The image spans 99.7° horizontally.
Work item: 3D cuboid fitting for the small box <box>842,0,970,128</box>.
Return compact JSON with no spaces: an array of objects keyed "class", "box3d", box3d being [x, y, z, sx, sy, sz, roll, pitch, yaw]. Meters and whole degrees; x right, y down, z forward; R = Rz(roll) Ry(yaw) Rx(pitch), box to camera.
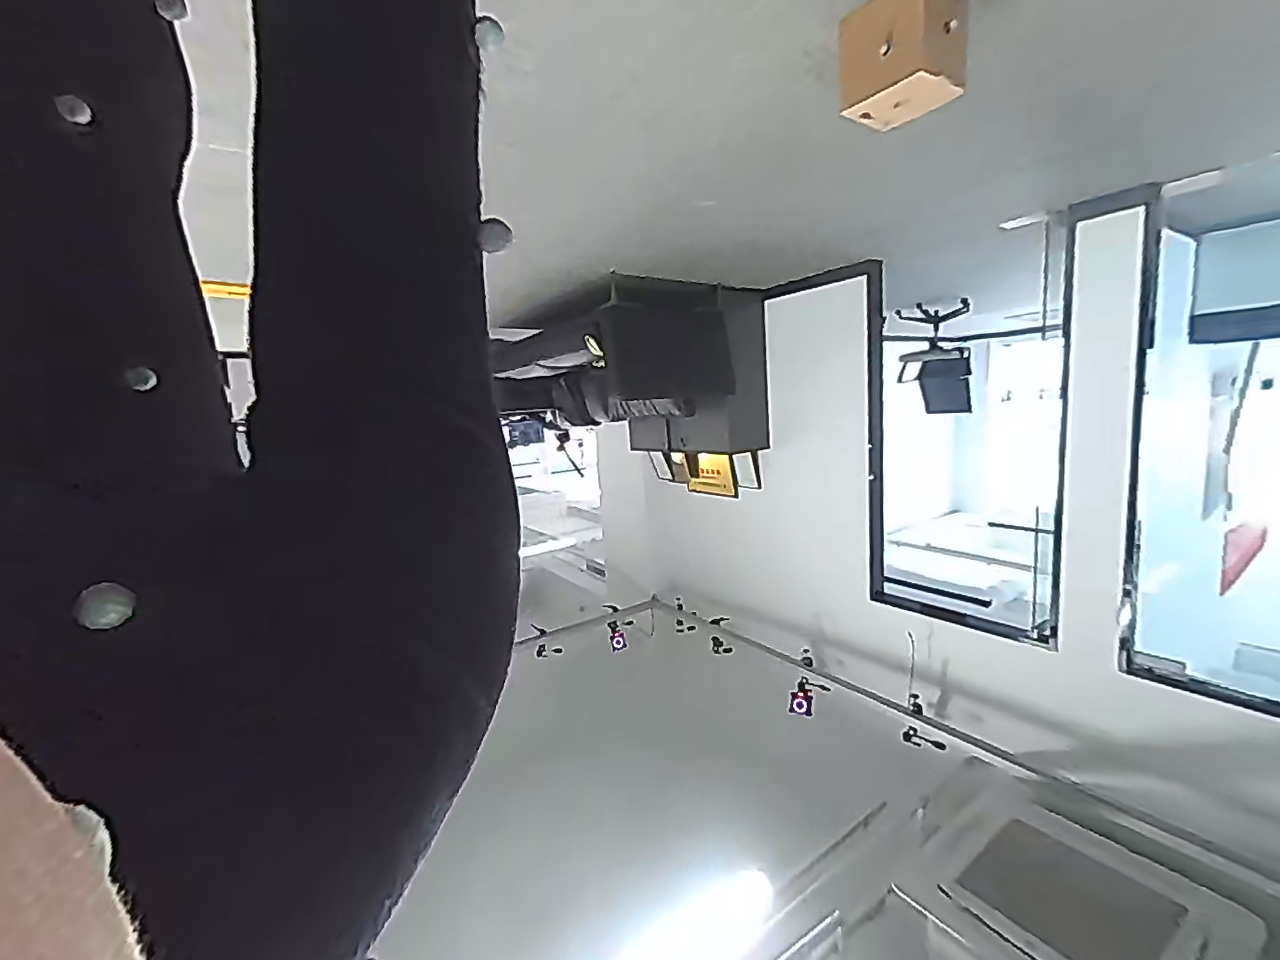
[{"class":"small box","box3d":[0.515,-0.832,1.056,0.168,0.176,0.179,-10,-170,-34]}]
